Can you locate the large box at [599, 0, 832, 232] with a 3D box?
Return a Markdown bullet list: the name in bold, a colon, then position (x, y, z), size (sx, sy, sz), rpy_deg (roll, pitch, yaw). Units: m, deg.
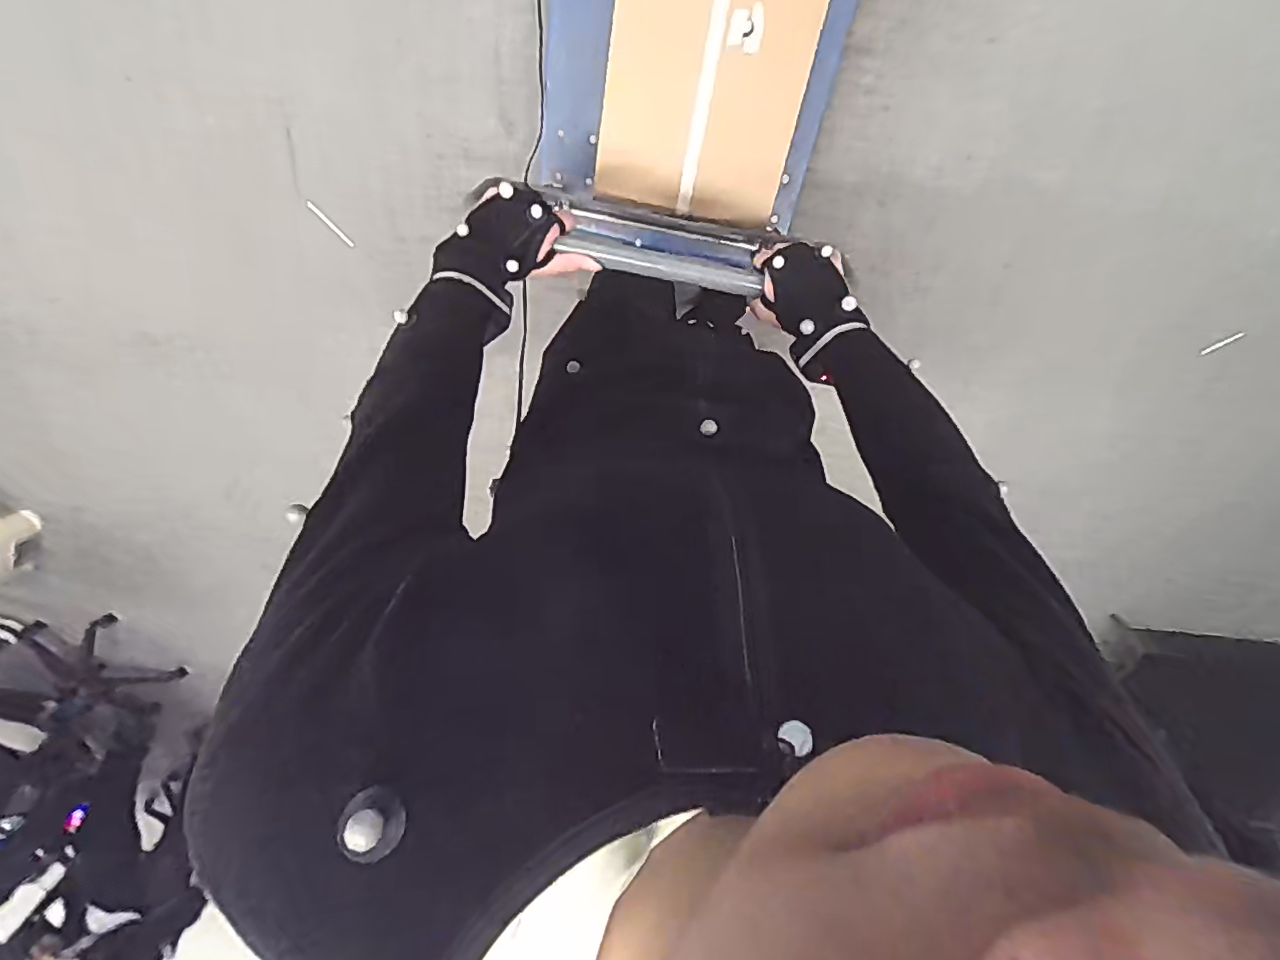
- **large box**: position (0.119, -0.695, 0.969), size (0.320, 0.320, 0.408), rpy_deg (10, 119, -3)
